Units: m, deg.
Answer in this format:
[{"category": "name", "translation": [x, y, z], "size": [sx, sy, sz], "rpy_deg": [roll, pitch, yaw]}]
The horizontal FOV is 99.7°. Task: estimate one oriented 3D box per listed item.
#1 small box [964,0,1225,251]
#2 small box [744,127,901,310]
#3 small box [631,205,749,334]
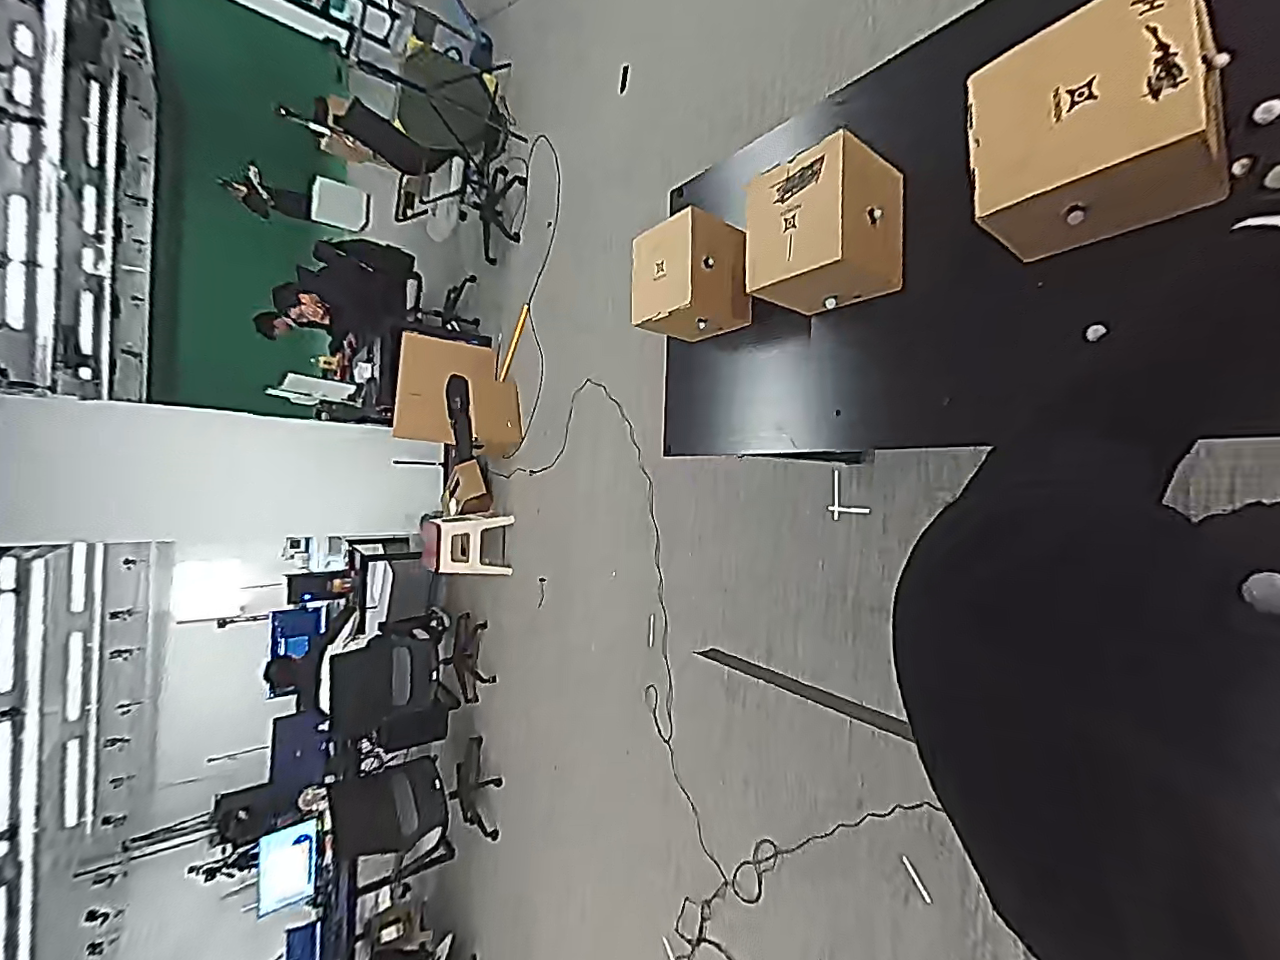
[{"category": "small box", "translation": [0.474, -0.369, 0.571], "size": [0.179, 0.176, 0.168], "rpy_deg": [-6, 84, 52]}, {"category": "small box", "translation": [0.277, -0.378, 0.821], "size": [0.168, 0.176, 0.179], "rpy_deg": [0, 89, 52]}, {"category": "small box", "translation": [0.099, -0.391, 1.047], "size": [0.168, 0.176, 0.179], "rpy_deg": [-2, 87, 50]}]
